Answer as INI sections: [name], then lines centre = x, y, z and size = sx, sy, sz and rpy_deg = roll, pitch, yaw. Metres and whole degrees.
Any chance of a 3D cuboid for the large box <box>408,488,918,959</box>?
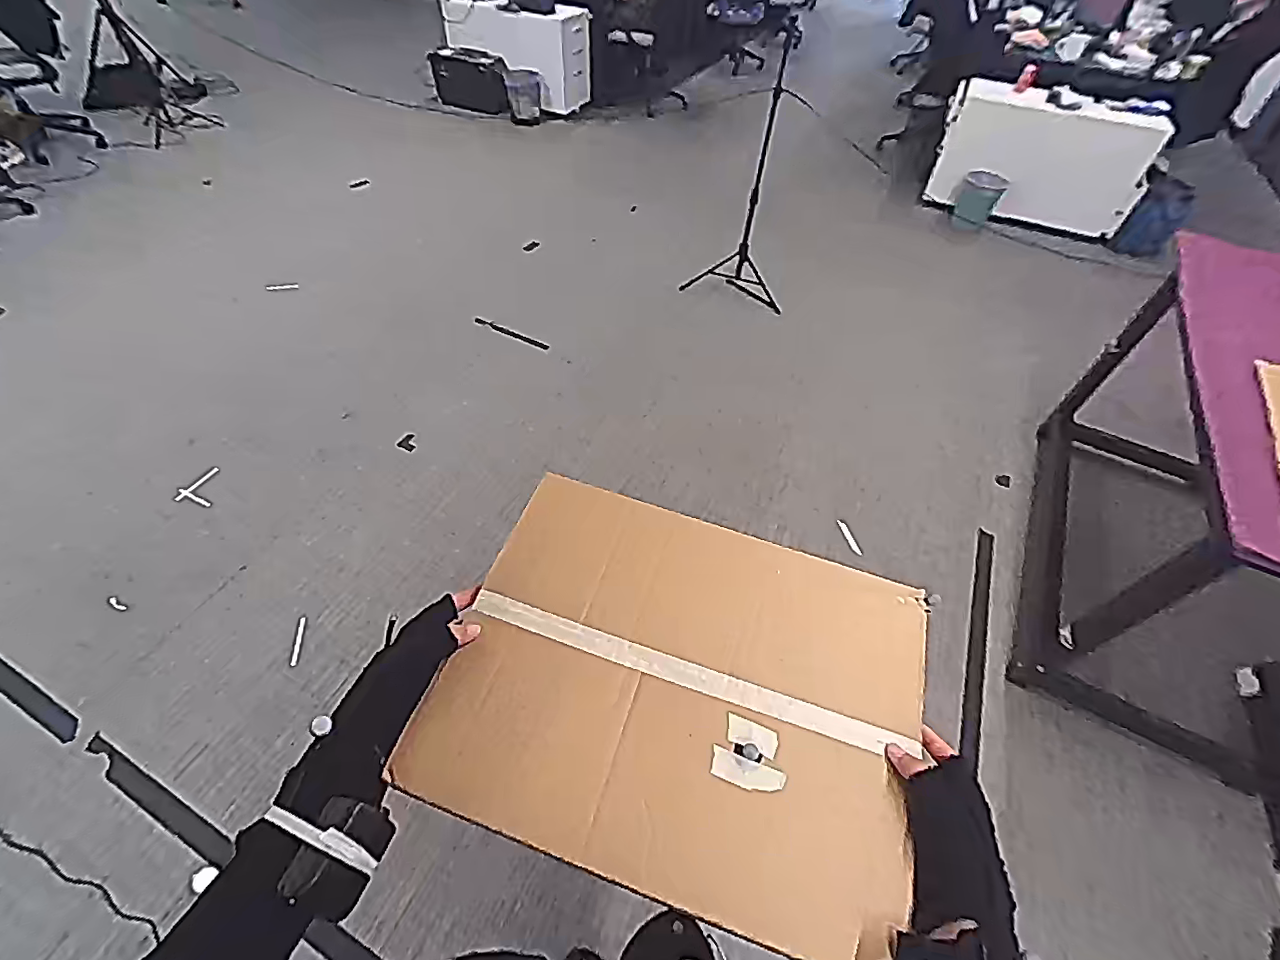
[large box]
centre = 0.036, 0.264, 0.608
size = 0.408, 0.320, 0.320
rpy_deg = 17, 56, 8
